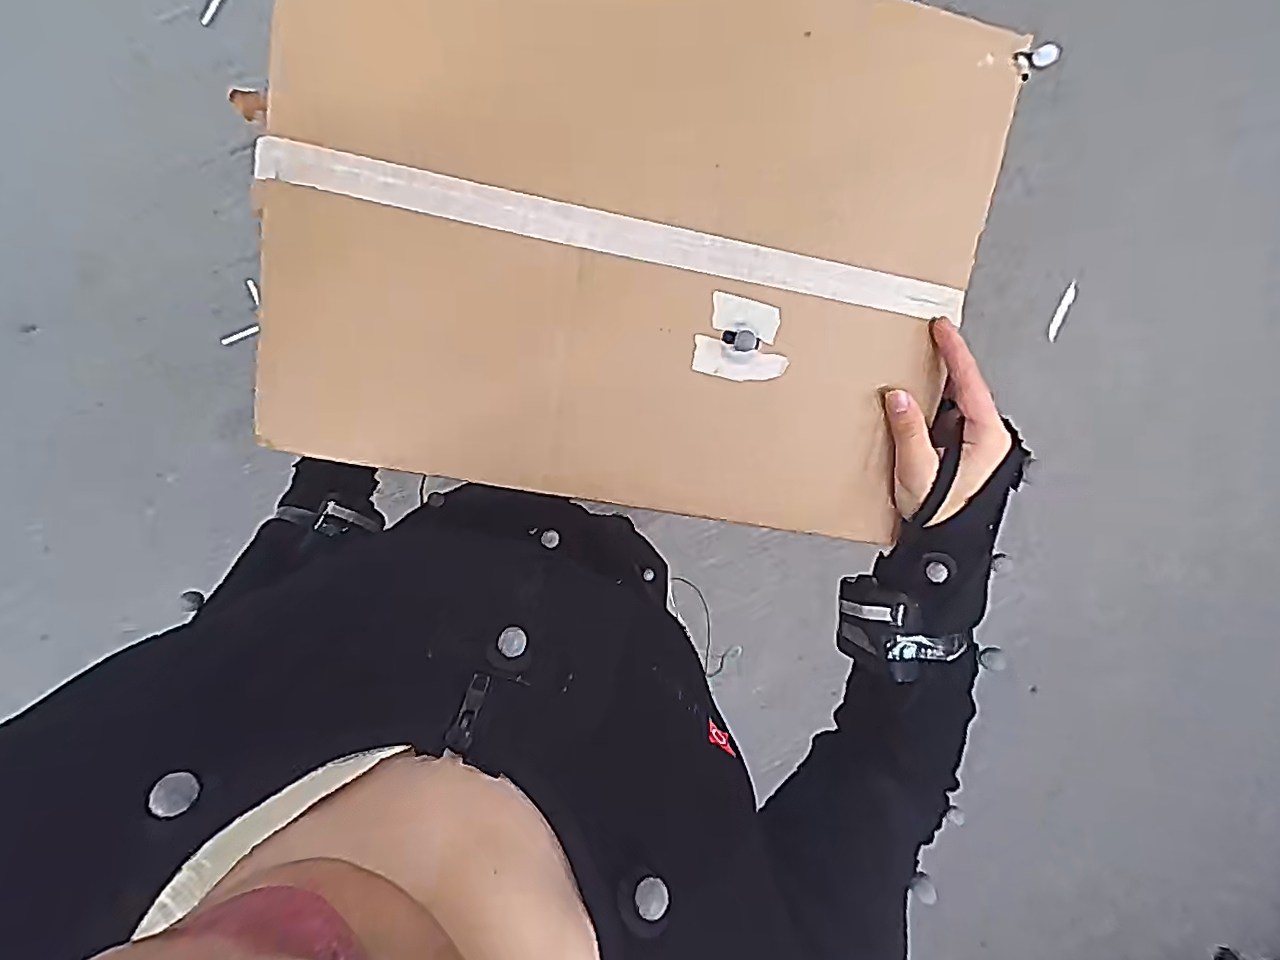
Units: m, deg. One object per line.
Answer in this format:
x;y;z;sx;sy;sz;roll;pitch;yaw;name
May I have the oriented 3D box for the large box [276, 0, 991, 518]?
-0.020;-0.171;0.469;0.408;0.320;0.320;8;101;-9;large box
